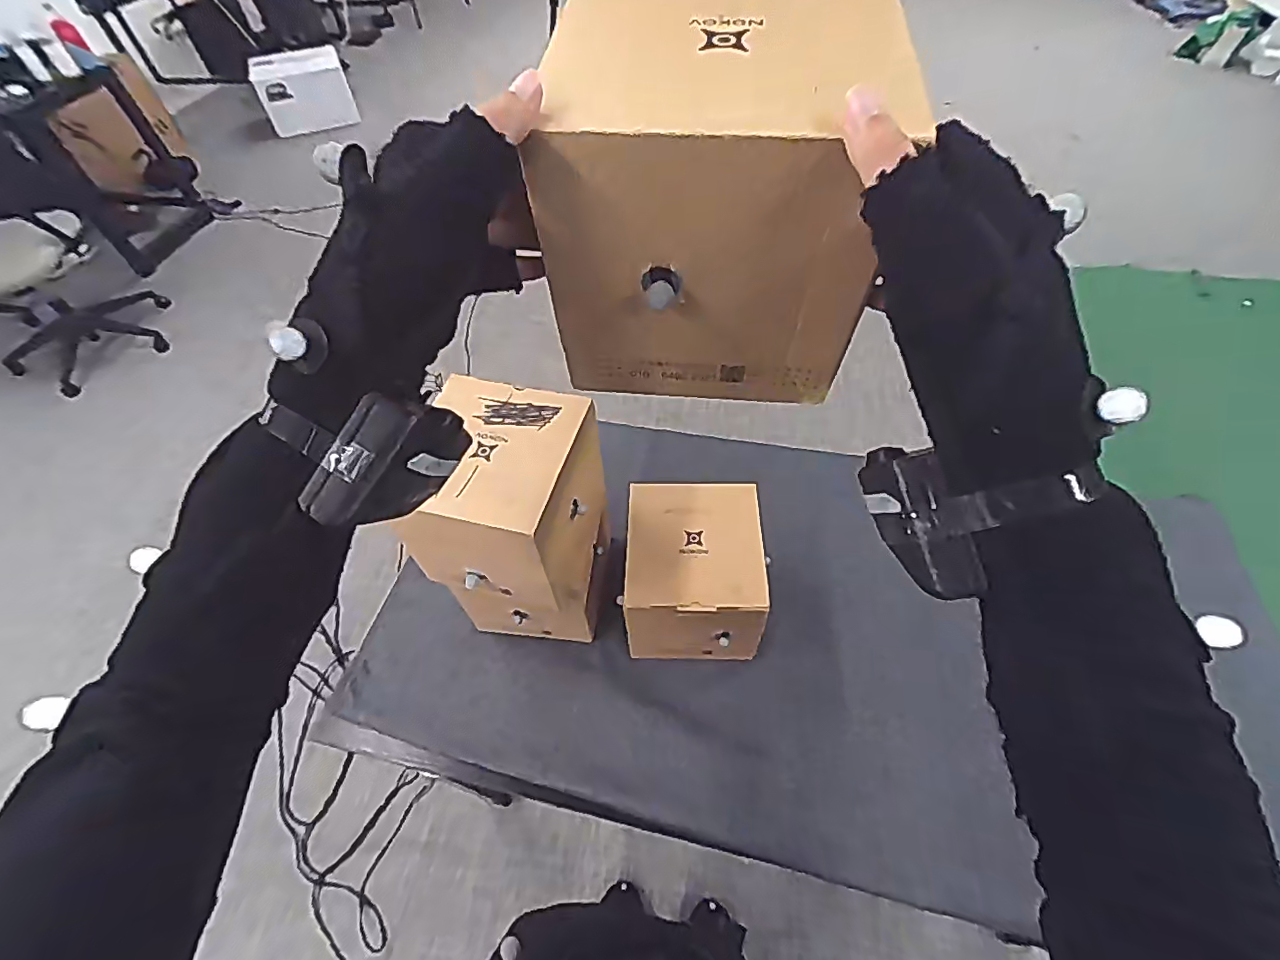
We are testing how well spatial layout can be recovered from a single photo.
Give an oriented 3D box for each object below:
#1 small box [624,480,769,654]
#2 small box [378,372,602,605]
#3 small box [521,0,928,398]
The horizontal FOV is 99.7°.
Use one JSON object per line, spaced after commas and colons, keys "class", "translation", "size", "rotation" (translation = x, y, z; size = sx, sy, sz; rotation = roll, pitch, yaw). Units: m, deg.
{"class": "small box", "translation": [0.070, 0.119, 0.715], "size": [0.168, 0.176, 0.179], "rotation": [1, 53, 2]}
{"class": "small box", "translation": [-0.144, 0.011, 0.599], "size": [0.168, 0.176, 0.179], "rotation": [11, 55, 10]}
{"class": "small box", "translation": [0.044, -0.167, 0.324], "size": [0.168, 0.176, 0.179], "rotation": [4, 59, 5]}
